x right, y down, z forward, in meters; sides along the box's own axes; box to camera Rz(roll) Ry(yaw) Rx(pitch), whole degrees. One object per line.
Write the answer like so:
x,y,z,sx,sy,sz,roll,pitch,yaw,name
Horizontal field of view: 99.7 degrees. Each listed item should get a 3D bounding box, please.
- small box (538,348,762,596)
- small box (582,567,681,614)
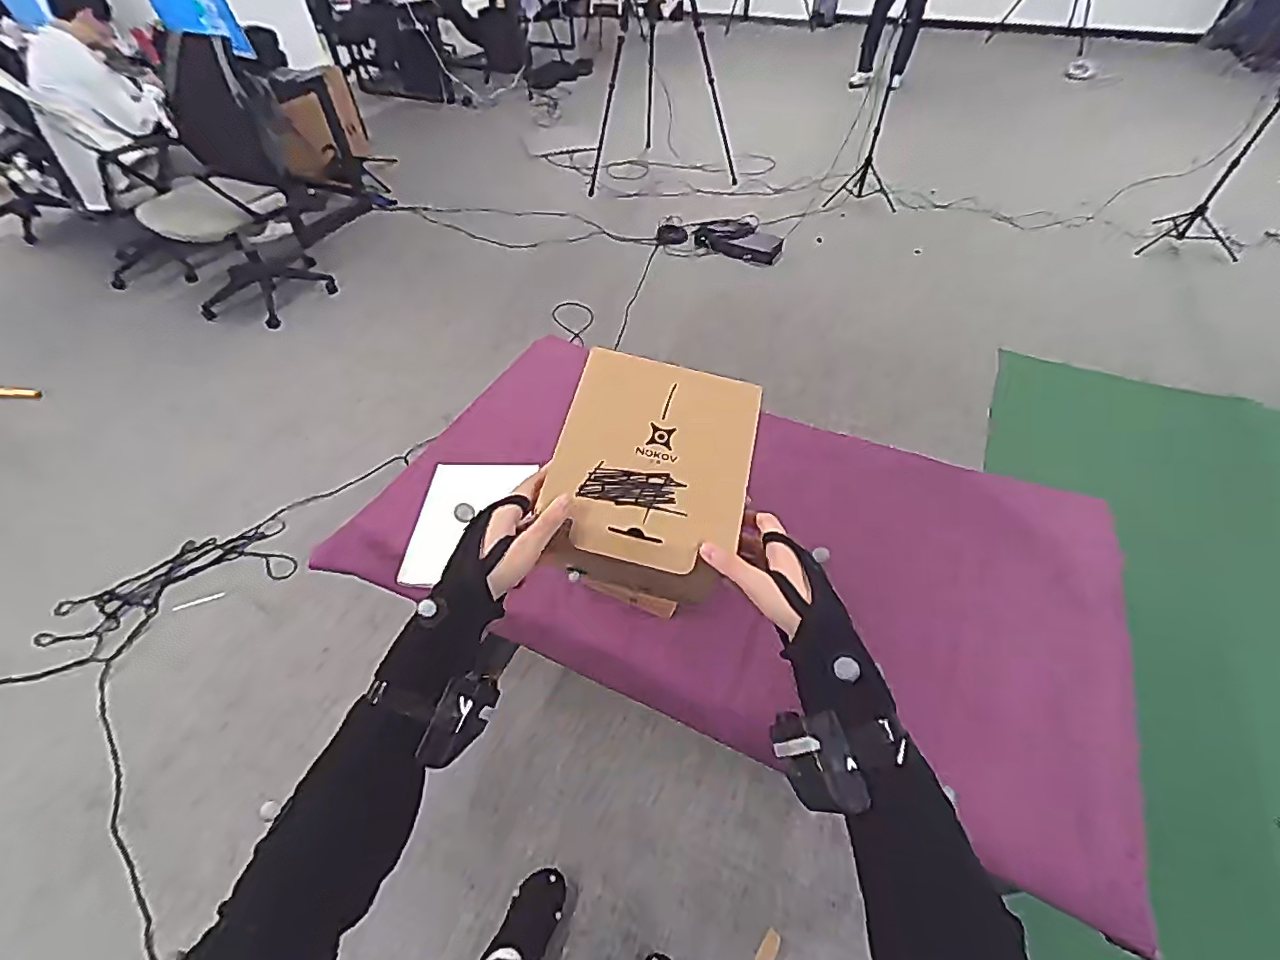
0.010,0.003,0.545,0.168,0.176,0.179,14,64,2,small box
0.009,0.082,0.853,0.168,0.176,0.179,20,53,17,small box
